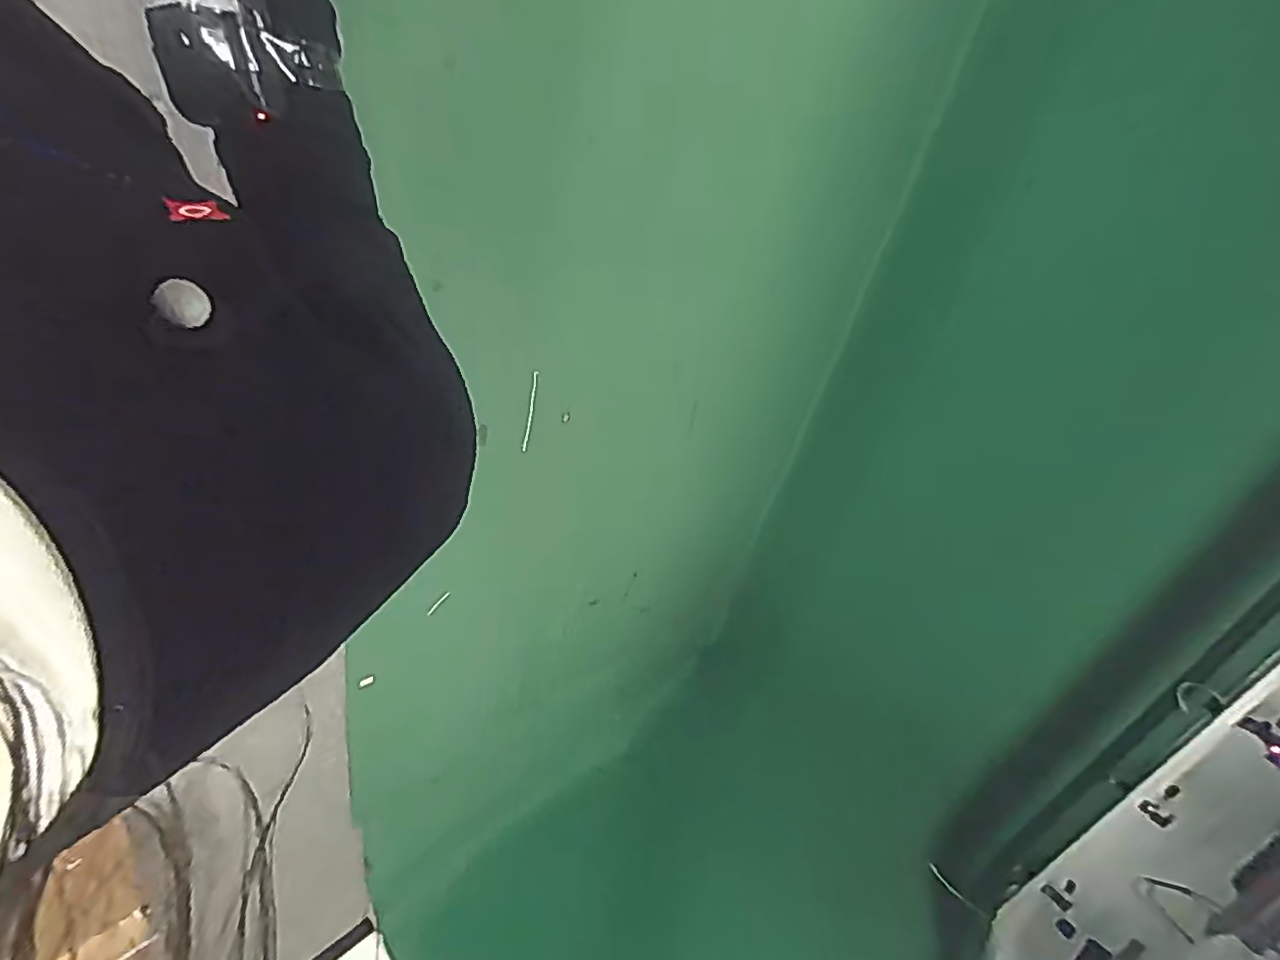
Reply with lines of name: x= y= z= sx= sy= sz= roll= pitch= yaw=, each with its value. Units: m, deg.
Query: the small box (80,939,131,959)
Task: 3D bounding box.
small box: x=-1.393 y=1.326 z=1.354 sx=0.179 sy=0.176 sz=0.168 roll=-18 pitch=127 yaw=-43
